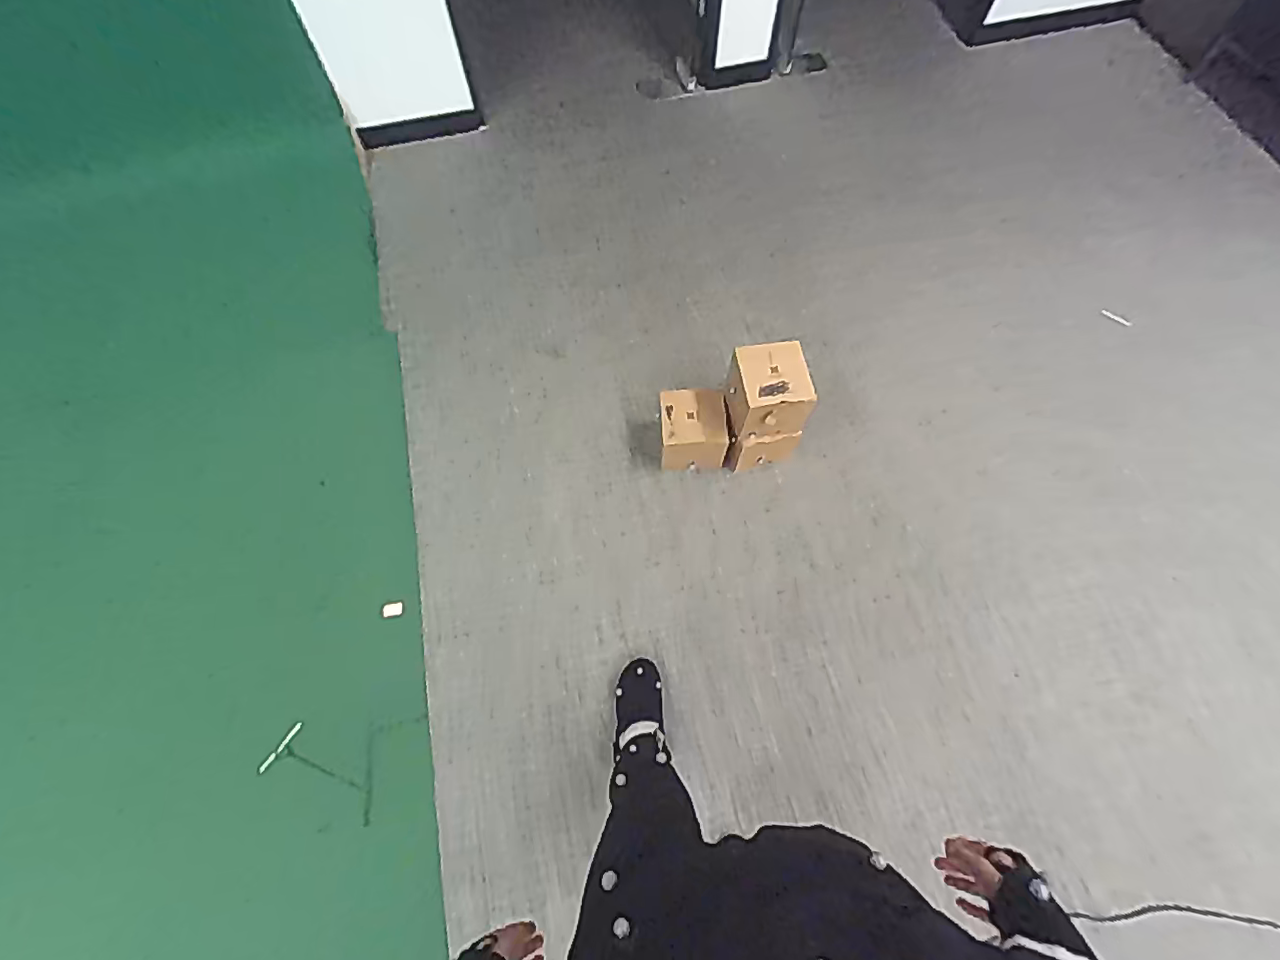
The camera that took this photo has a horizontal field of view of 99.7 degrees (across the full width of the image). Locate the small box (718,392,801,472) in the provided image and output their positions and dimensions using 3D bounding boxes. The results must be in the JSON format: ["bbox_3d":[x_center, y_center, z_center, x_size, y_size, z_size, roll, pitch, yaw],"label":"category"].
[{"bbox_3d":[0.326,-0.146,1.518,0.168,0.176,0.179,-13,68,-5],"label":"small box"}]

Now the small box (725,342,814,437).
[{"bbox_3d":[0.320,-0.221,1.372,0.168,0.176,0.179,-8,67,-3],"label":"small box"}]
